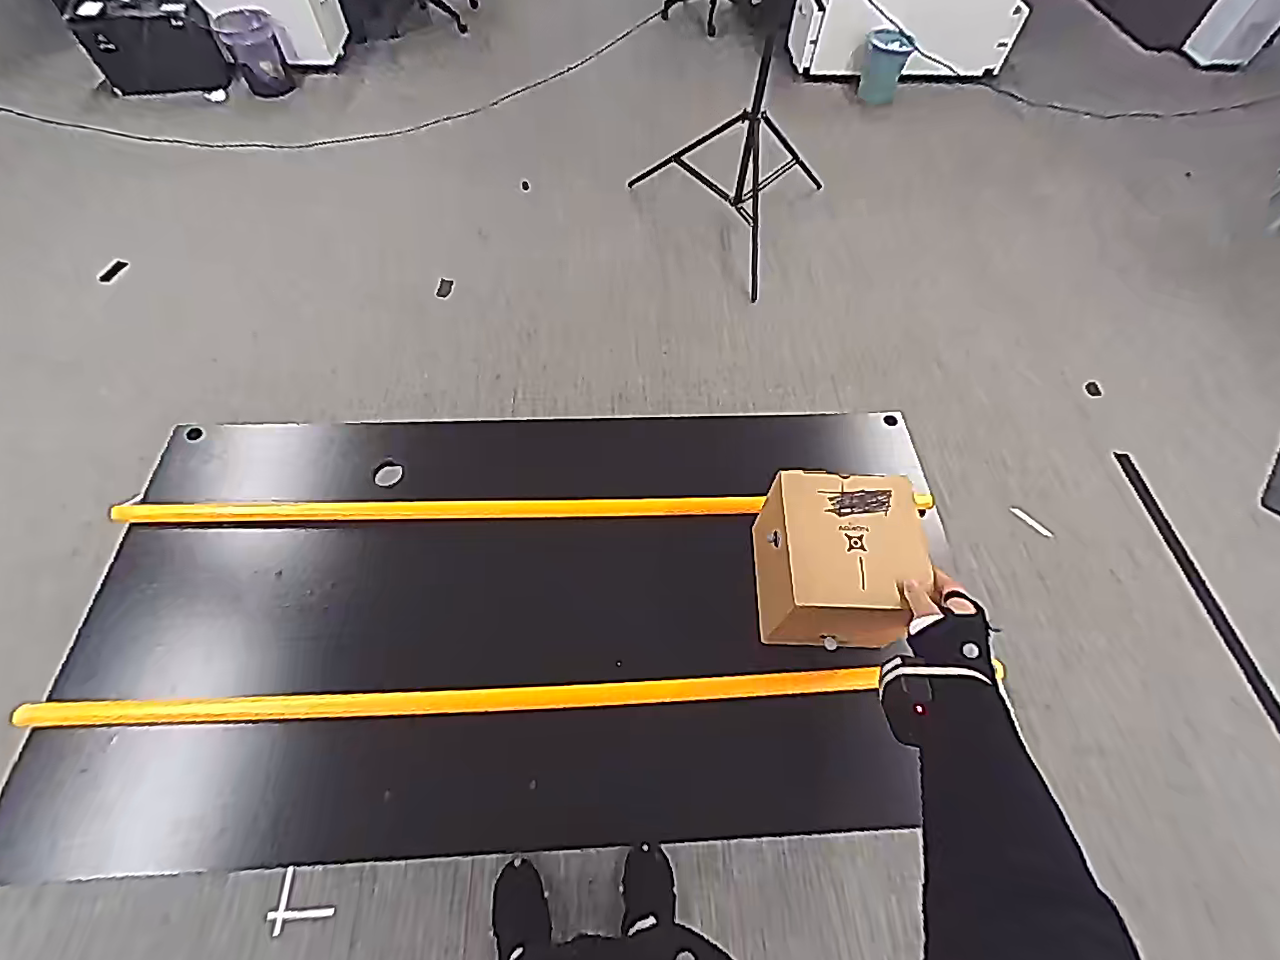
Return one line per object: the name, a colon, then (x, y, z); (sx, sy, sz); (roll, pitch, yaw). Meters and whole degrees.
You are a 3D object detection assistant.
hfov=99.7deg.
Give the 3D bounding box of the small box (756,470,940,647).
small box: (0.252, 0.107, 0.707); (0.168, 0.176, 0.179); (2, 60, 0)
